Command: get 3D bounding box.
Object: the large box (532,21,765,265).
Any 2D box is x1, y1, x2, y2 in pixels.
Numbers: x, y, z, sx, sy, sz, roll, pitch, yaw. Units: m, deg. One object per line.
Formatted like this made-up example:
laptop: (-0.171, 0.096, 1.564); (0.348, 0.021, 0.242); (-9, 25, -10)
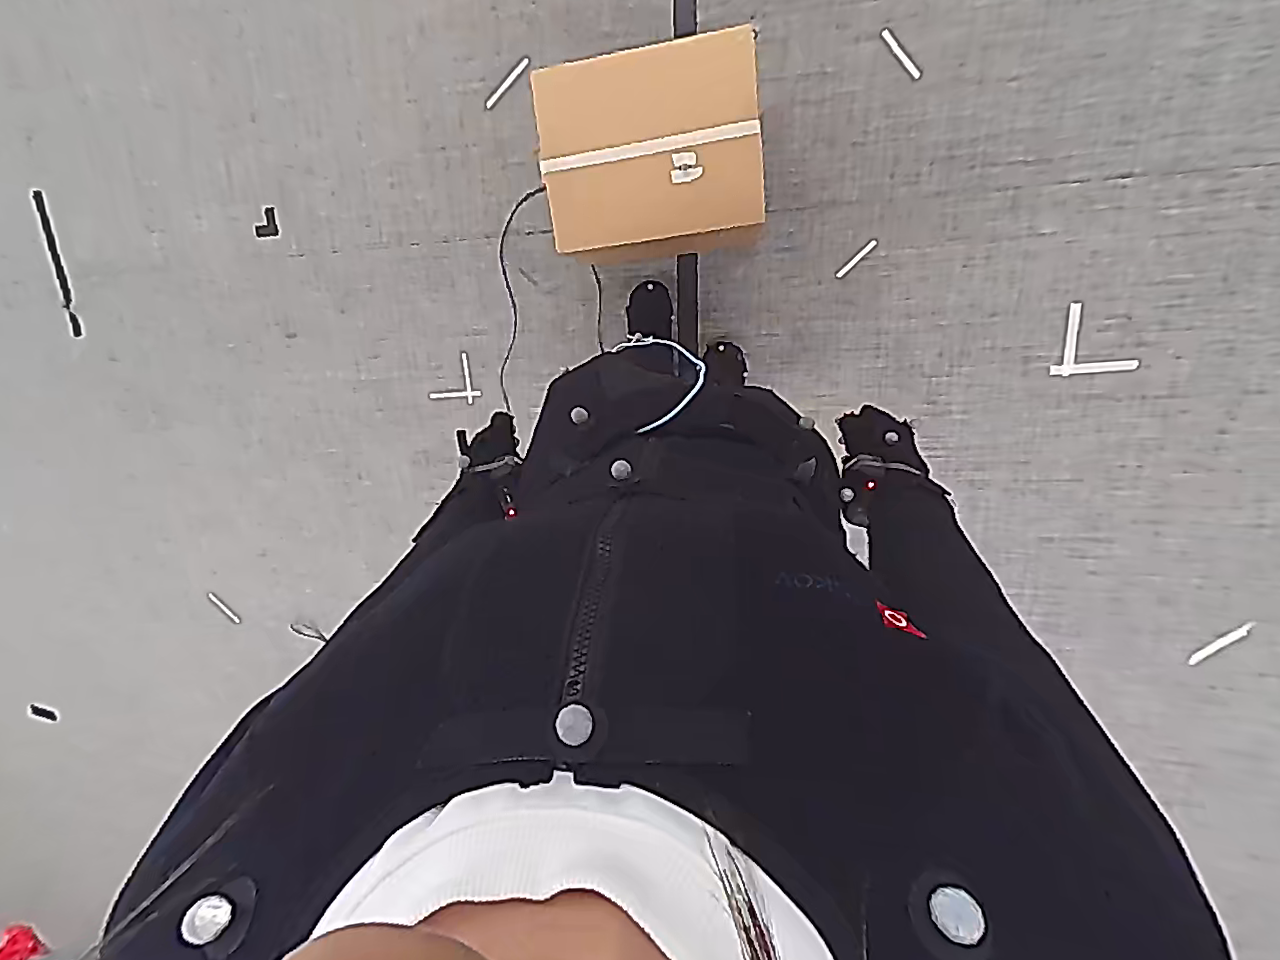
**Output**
large box: (0.036, -0.651, 1.122); (0.408, 0.320, 0.320); (-4, 107, 10)
